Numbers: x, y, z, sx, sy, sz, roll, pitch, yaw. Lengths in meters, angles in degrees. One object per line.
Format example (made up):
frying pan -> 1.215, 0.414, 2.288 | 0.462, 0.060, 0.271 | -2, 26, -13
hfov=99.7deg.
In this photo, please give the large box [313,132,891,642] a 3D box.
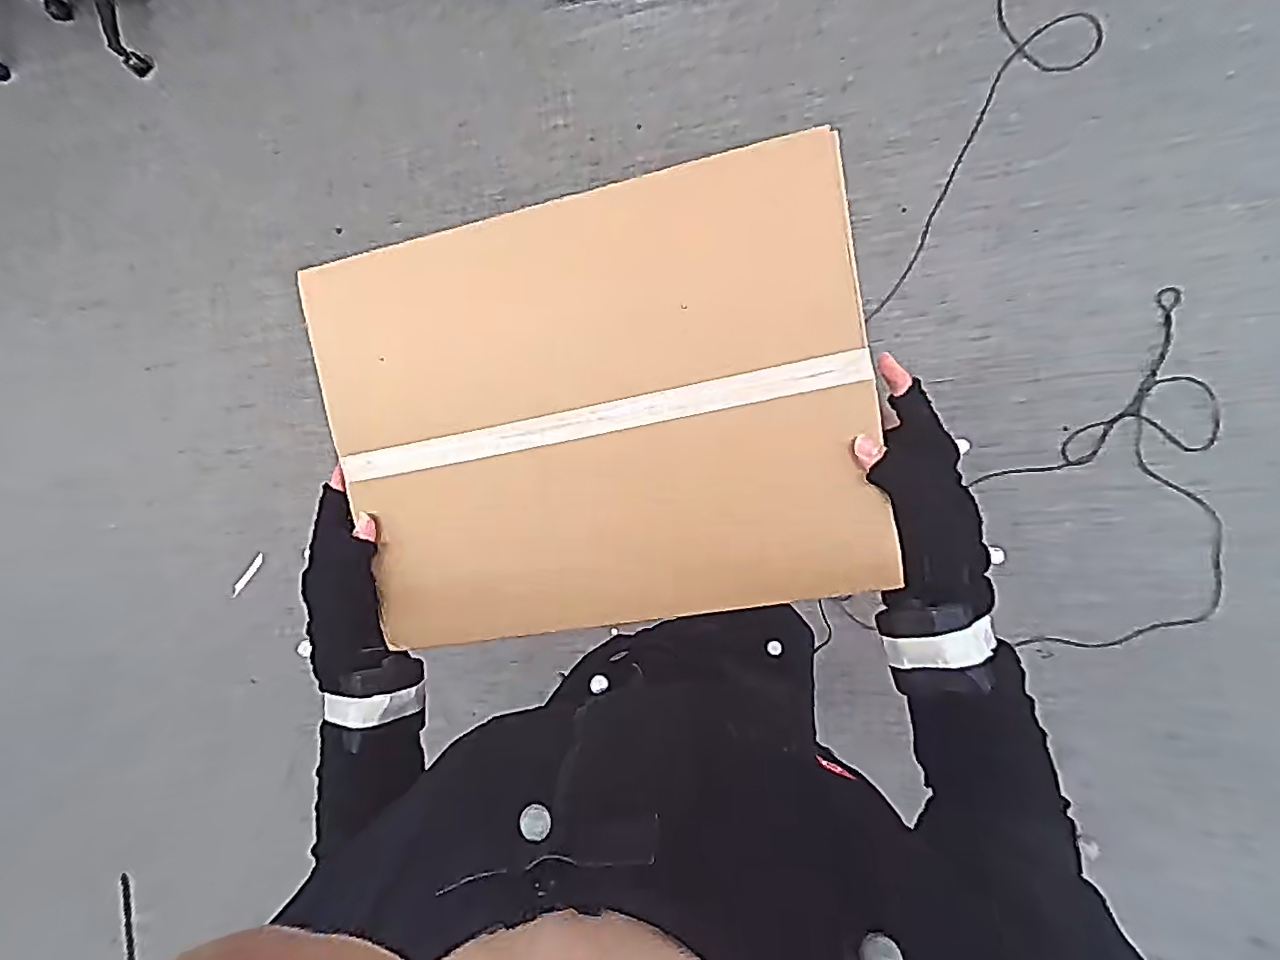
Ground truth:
large box -> -0.015, -0.067, 0.551 | 0.408, 0.320, 0.320 | -10, 95, 11
